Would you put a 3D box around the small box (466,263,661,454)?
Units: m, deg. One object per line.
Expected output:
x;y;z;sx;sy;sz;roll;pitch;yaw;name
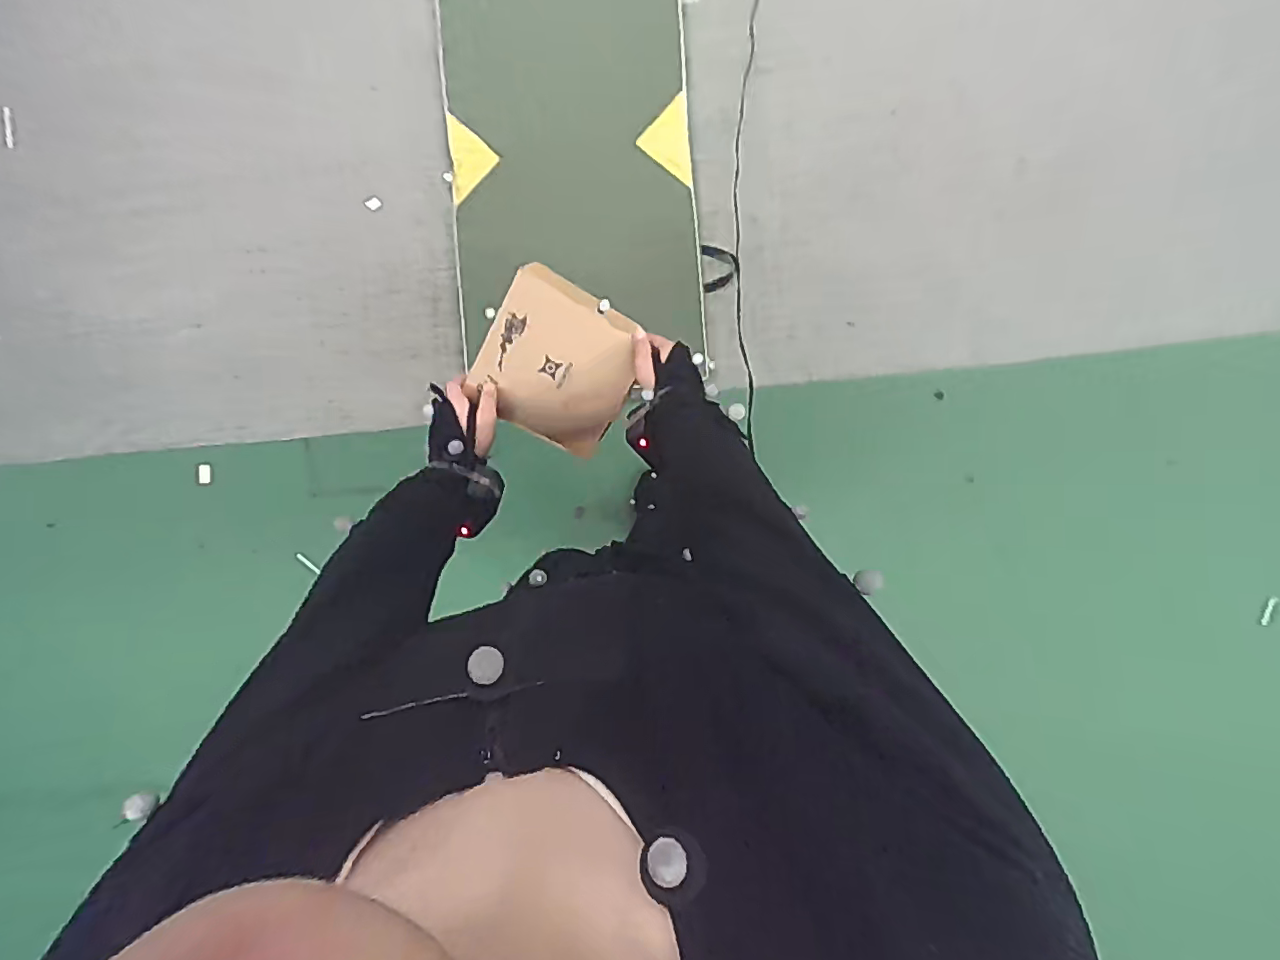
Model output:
-0.096;-0.166;0.703;0.179;0.176;0.168;28;108;-17;small box
